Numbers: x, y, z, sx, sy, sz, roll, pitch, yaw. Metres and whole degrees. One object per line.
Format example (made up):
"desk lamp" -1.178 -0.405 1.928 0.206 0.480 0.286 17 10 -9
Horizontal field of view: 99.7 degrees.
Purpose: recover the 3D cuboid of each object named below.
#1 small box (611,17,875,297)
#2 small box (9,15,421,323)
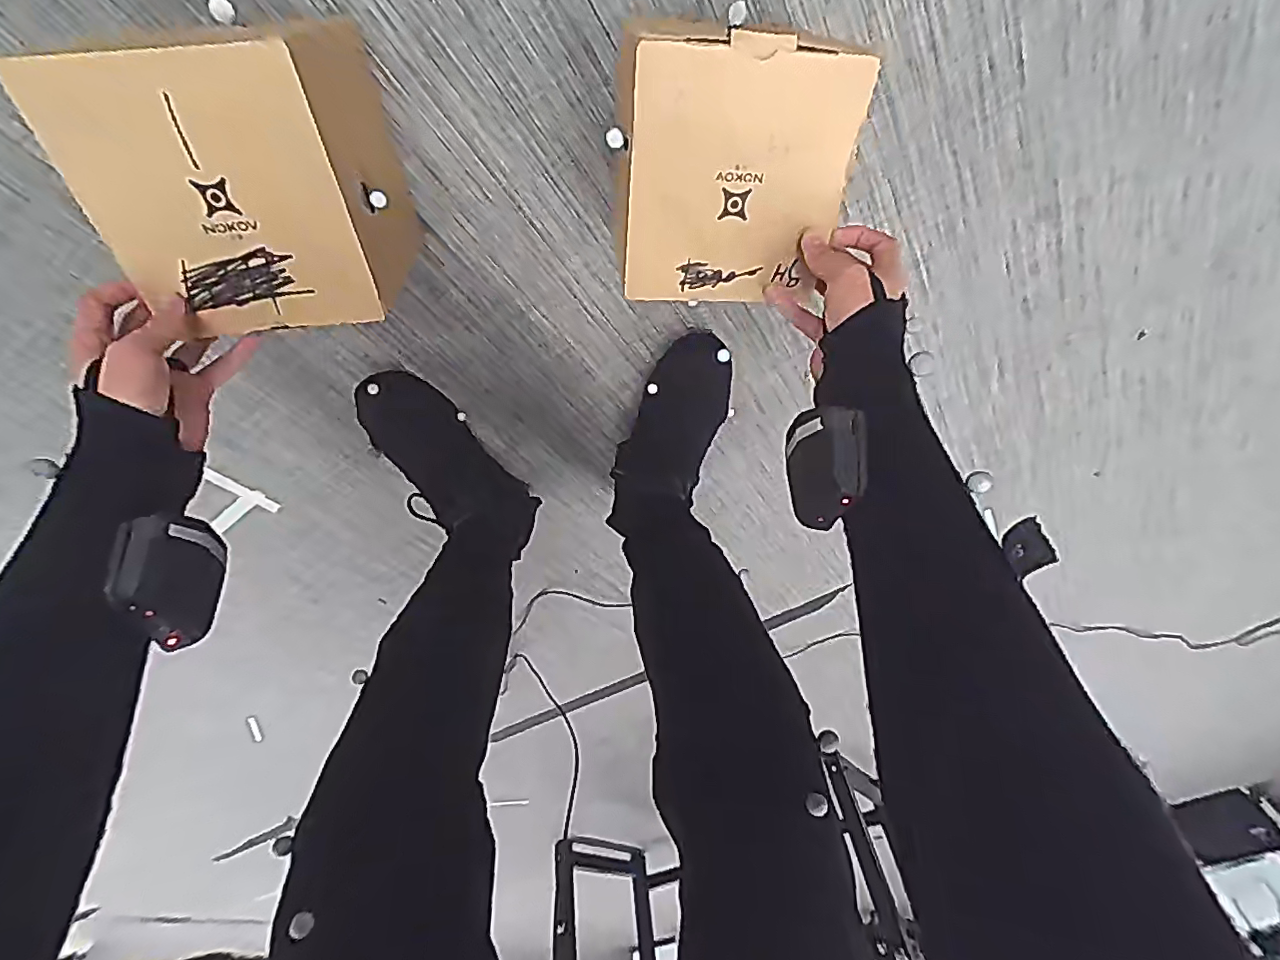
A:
"small box" 0.063 -0.277 0.466 0.168 0.176 0.179 -1 132 -7
"small box" -0.293 -0.249 0.433 0.168 0.176 0.179 -7 133 -4
